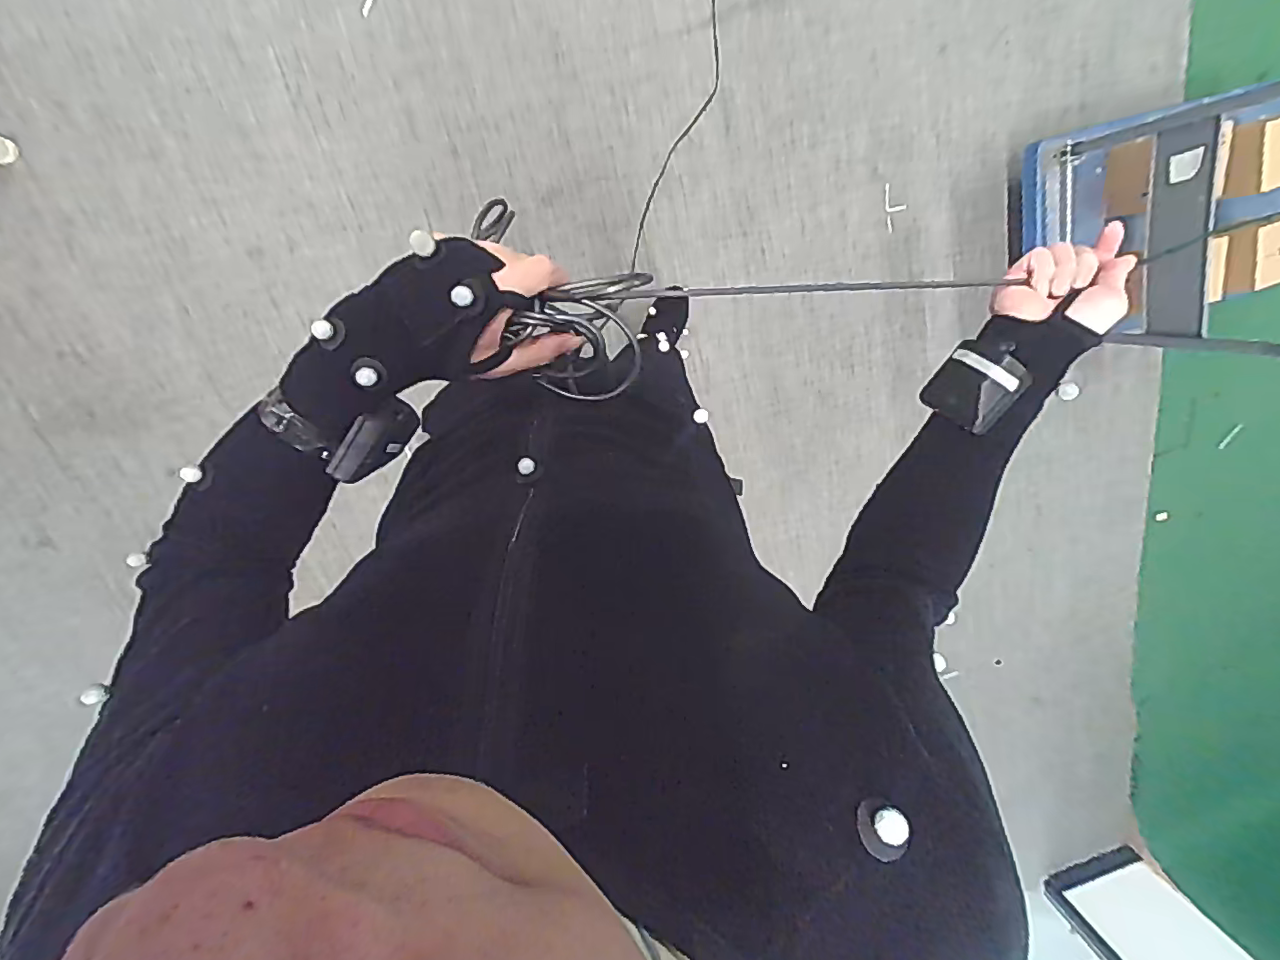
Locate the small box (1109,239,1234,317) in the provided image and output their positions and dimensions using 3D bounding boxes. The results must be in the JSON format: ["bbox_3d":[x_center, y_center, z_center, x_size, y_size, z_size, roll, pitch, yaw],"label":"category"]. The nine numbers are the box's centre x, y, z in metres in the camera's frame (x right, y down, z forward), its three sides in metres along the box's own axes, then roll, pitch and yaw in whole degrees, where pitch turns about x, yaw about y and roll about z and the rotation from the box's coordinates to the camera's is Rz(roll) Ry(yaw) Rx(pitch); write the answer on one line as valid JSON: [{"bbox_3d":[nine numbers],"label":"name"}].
[{"bbox_3d":[1.453,-0.553,1.487,0.179,0.176,0.168,-15,109,-4],"label":"small box"}]

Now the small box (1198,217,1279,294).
[{"bbox_3d":[1.712,-0.628,1.509,0.179,0.176,0.168,-19,108,-3],"label":"small box"}]

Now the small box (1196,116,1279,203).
[{"bbox_3d":[1.635,-0.853,1.428,0.179,0.176,0.168,-20,110,-4],"label":"small box"}]
